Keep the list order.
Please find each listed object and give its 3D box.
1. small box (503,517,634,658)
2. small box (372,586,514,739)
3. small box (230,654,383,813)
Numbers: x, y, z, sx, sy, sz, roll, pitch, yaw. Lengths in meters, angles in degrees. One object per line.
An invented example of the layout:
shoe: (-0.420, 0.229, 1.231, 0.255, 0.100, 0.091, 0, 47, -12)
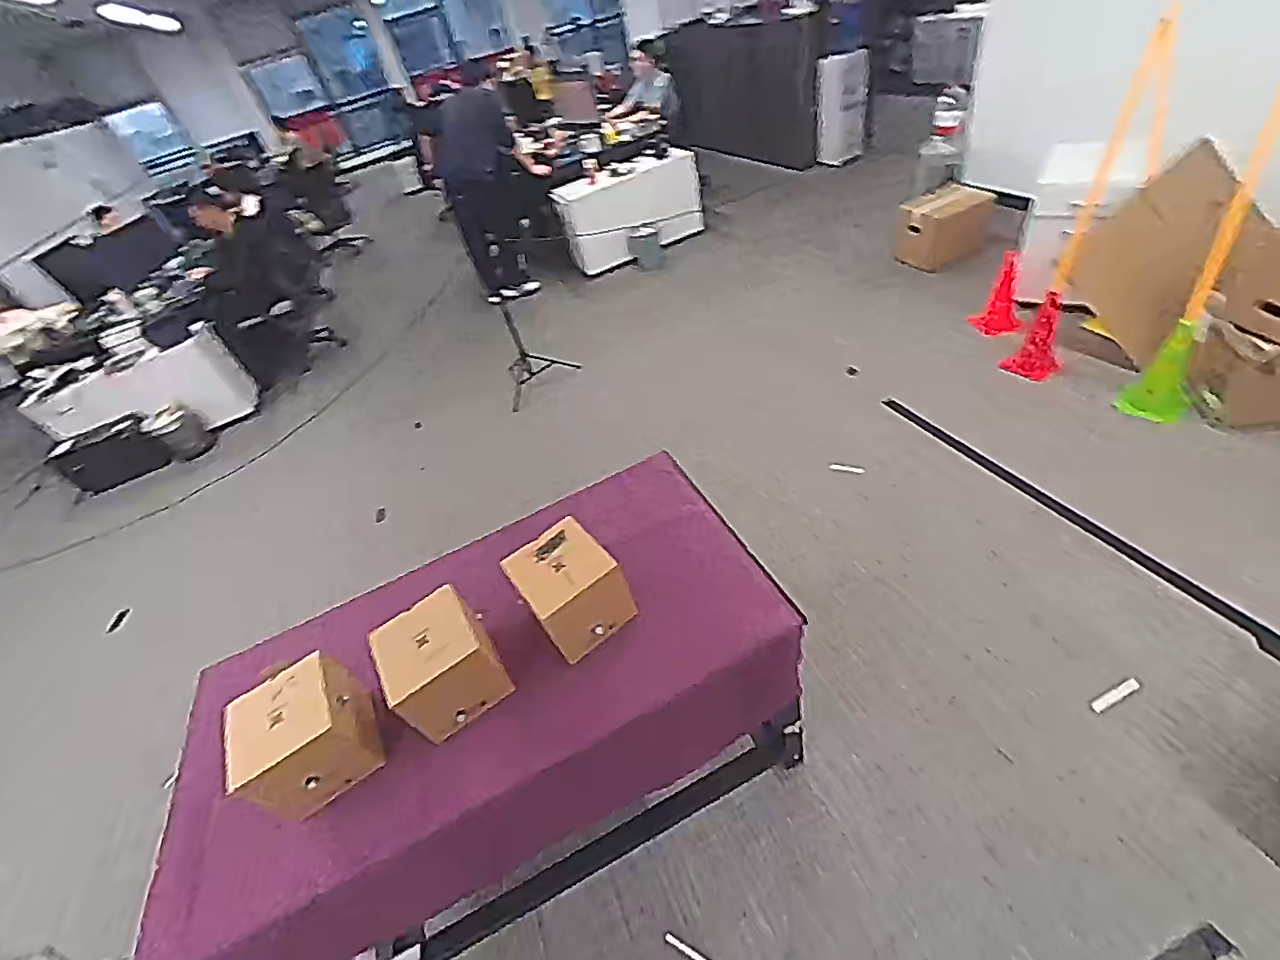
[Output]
small box: (-0.136, 0.212, 1.061, 0.168, 0.176, 0.179, -35, 46, -18)
small box: (-0.363, 0.340, 1.006, 0.168, 0.176, 0.179, -33, 44, -15)
small box: (-0.584, 0.455, 0.959, 0.168, 0.176, 0.179, -32, 44, -16)
